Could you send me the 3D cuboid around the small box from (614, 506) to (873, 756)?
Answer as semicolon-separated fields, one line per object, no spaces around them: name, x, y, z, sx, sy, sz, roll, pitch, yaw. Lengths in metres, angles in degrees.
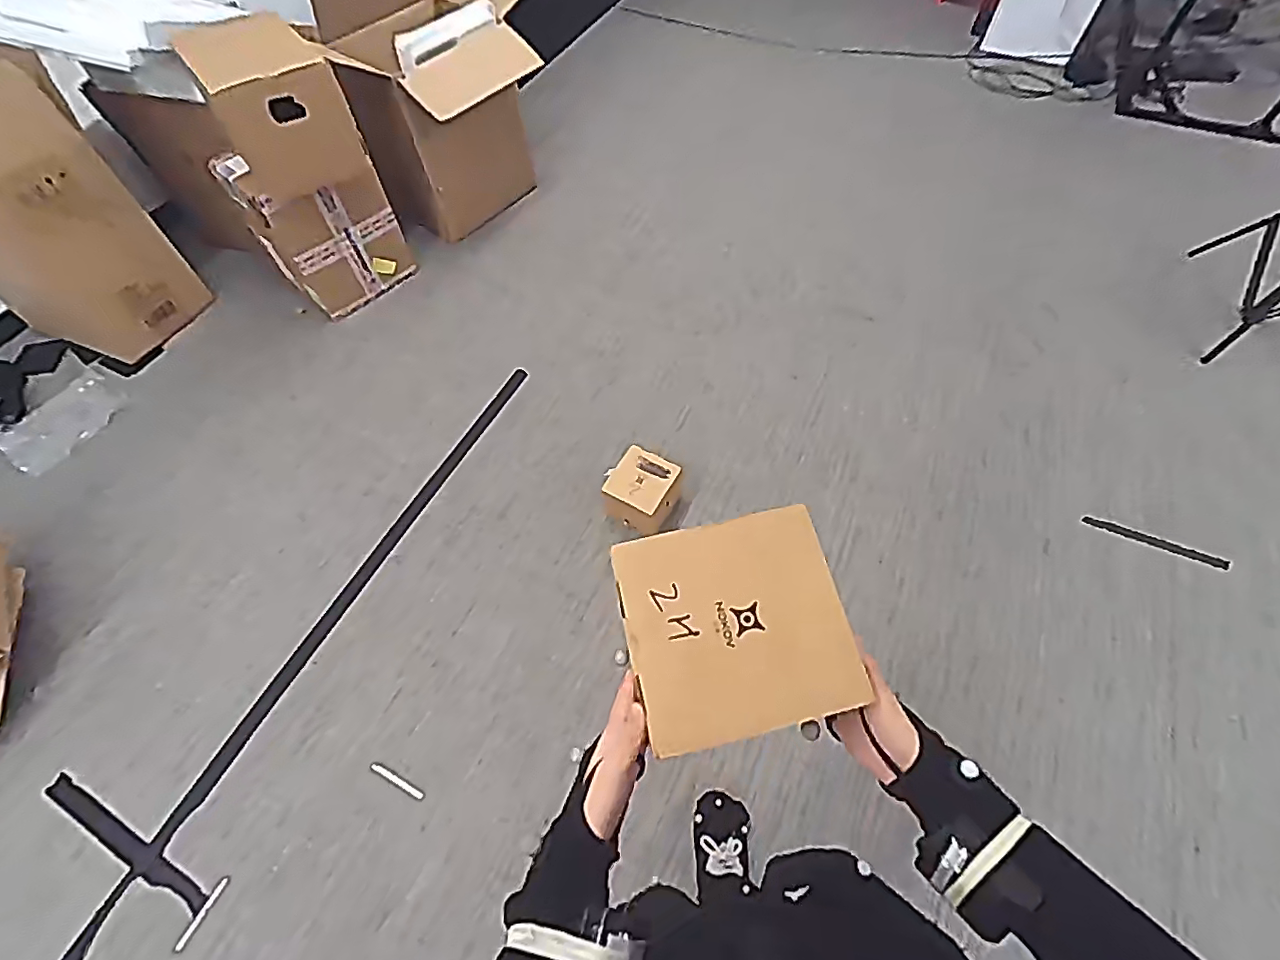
small box;0.076;0.141;0.504;0.179;0.176;0.168;-12;69;-5
